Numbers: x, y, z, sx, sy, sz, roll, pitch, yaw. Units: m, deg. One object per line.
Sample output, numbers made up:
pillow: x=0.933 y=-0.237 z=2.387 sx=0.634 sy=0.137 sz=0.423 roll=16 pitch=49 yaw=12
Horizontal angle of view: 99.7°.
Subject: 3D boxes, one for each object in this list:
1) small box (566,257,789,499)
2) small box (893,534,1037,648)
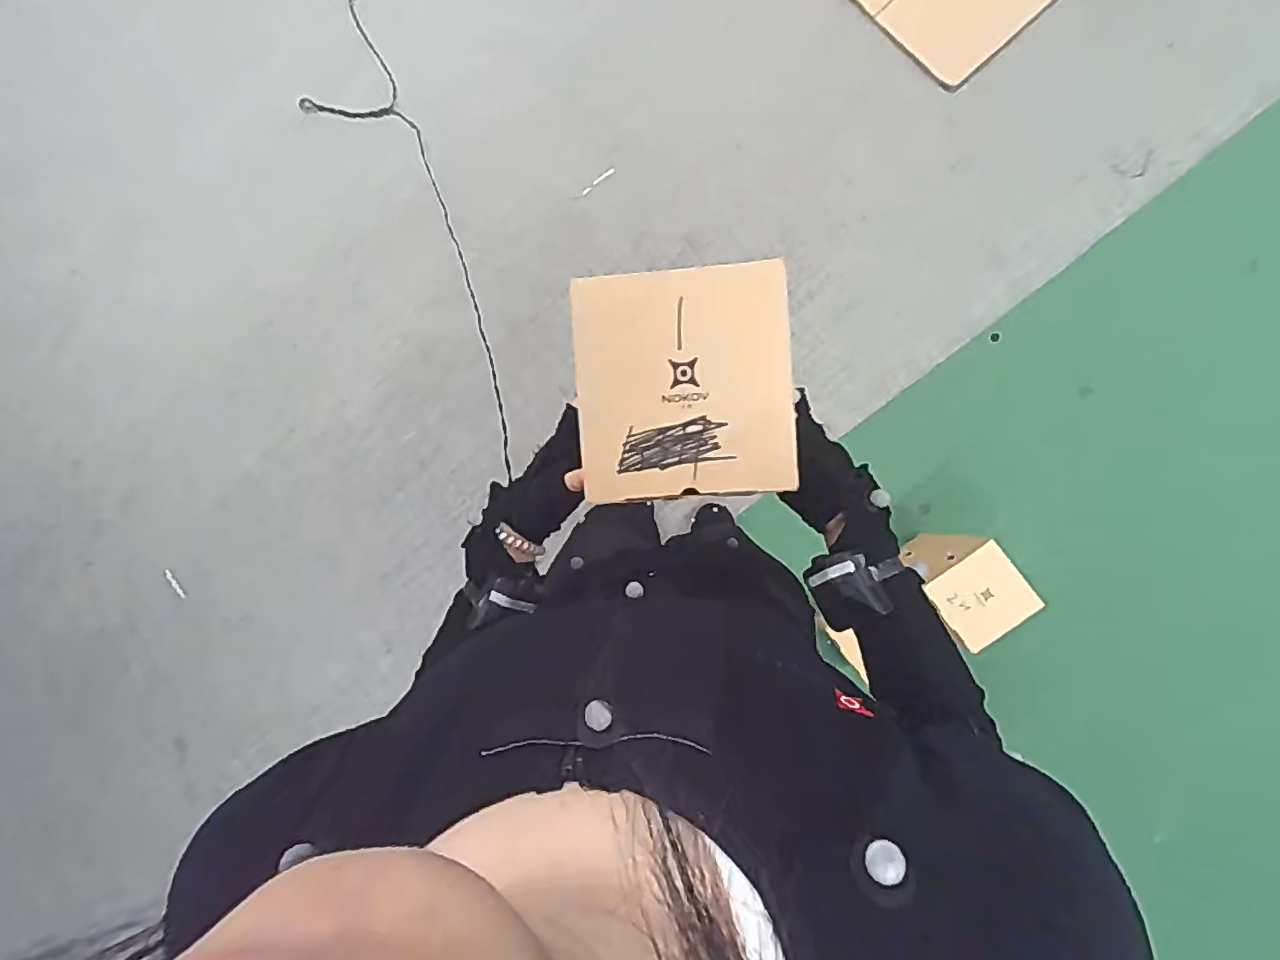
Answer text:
small box: x=0.035 y=-0.082 z=0.495 sx=0.168 sy=0.176 sz=0.179 roll=-4 pitch=93 yaw=4
small box: x=0.694 y=0.230 z=1.178 sx=0.179 sy=0.176 sz=0.168 roll=-36 pitch=85 yaw=3
